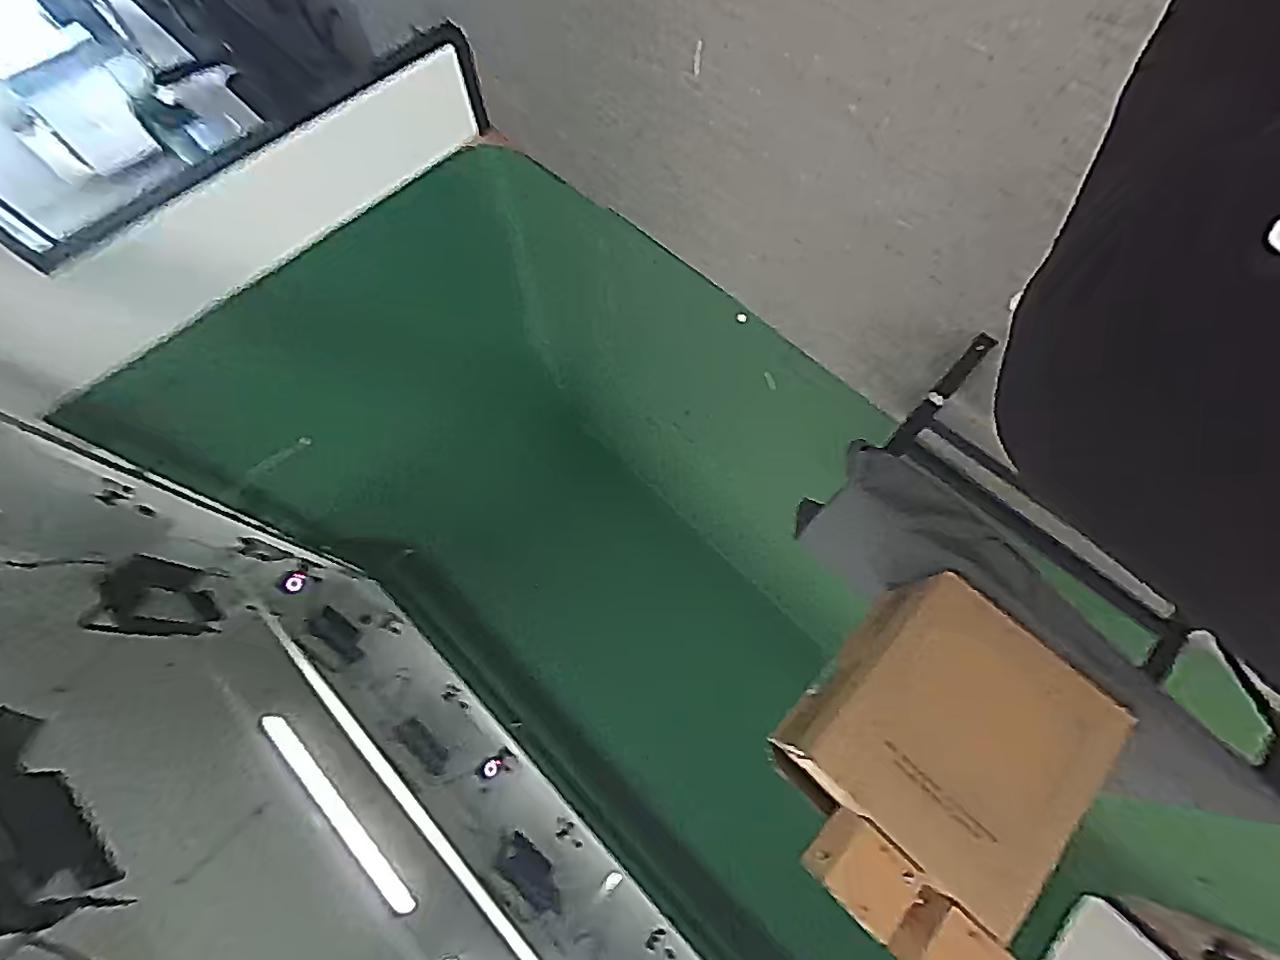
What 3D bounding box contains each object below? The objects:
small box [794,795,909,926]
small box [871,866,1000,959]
[{"bbox_3d":[0.503,0.890,1.287,0.168,0.176,0.179,42,164,14],"label":"small box"},{"bbox_3d":[0.668,1.031,1.231,0.168,0.176,0.179,39,164,11],"label":"small box"}]
